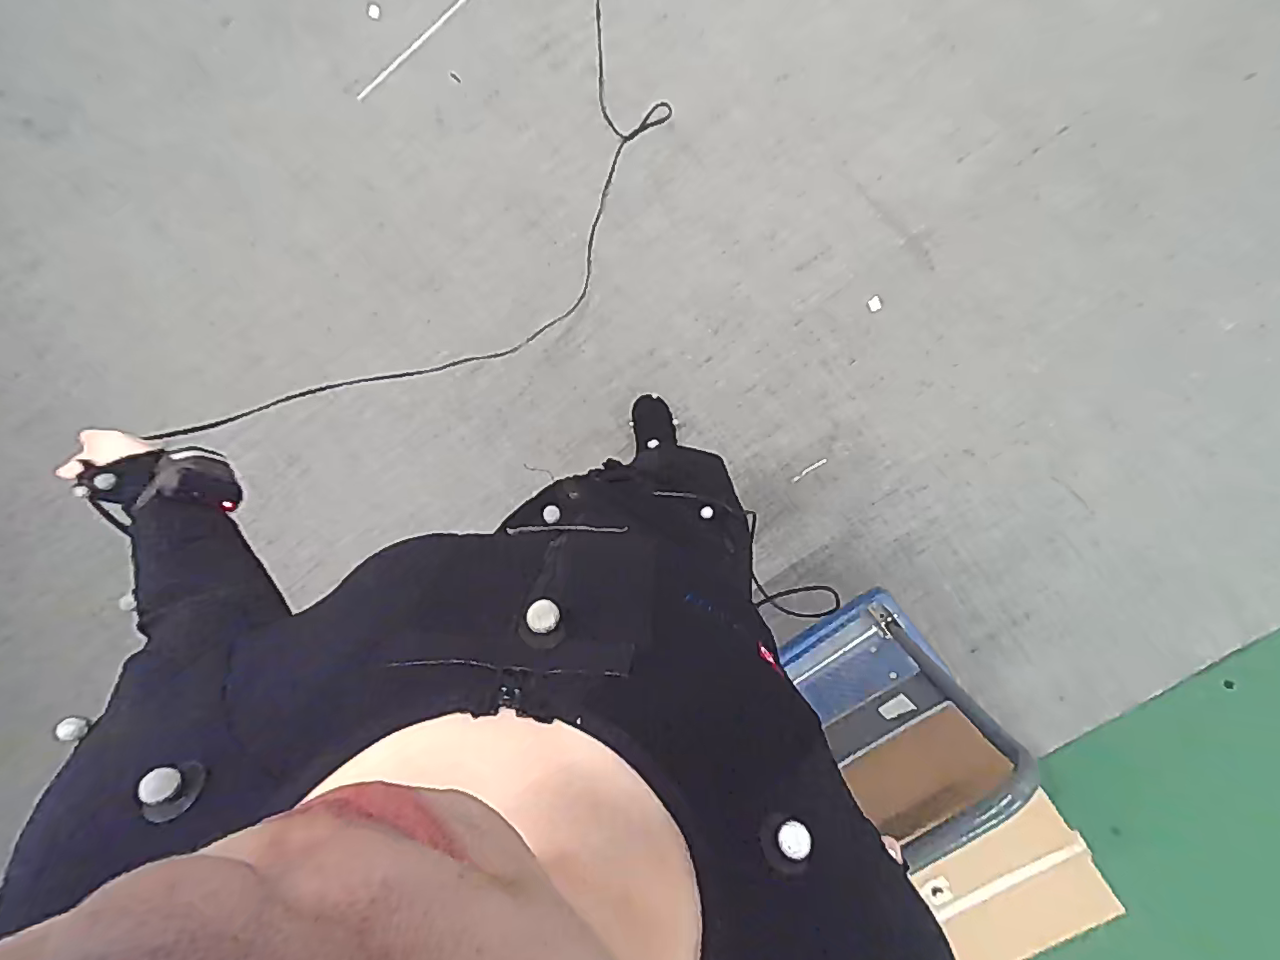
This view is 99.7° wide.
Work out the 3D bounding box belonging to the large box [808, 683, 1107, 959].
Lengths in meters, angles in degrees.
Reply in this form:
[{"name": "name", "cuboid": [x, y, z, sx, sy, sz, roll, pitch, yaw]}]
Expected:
[{"name": "large box", "cuboid": [0.645, 0.728, 1.176, 0.408, 0.320, 0.320, -35, 90, 9]}]
